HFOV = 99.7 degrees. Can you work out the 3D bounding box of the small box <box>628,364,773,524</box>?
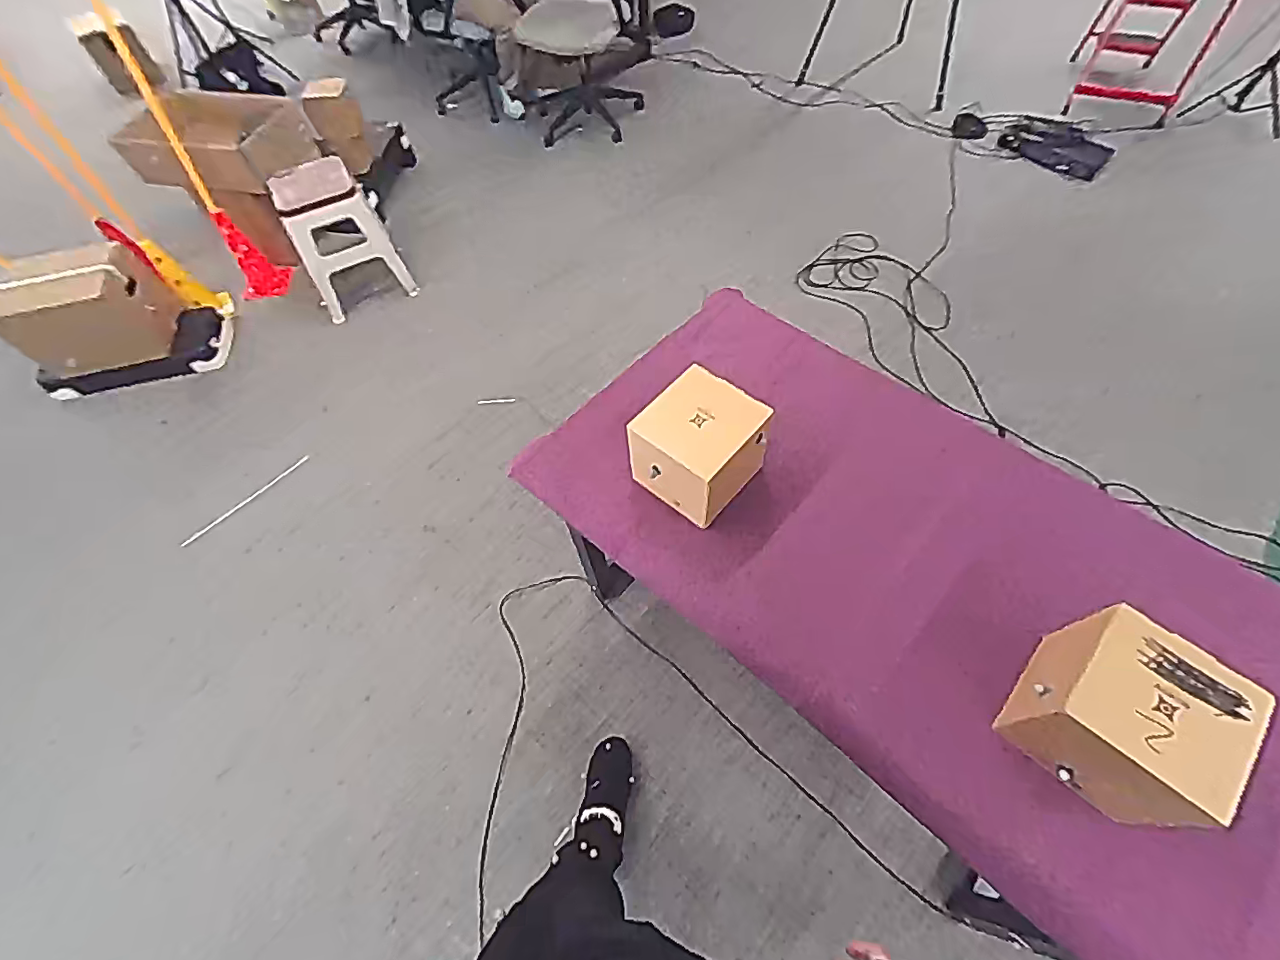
[{"bbox_3d":[0.101,-0.055,0.924,0.168,0.176,0.179,36,65,22],"label":"small box"}]
